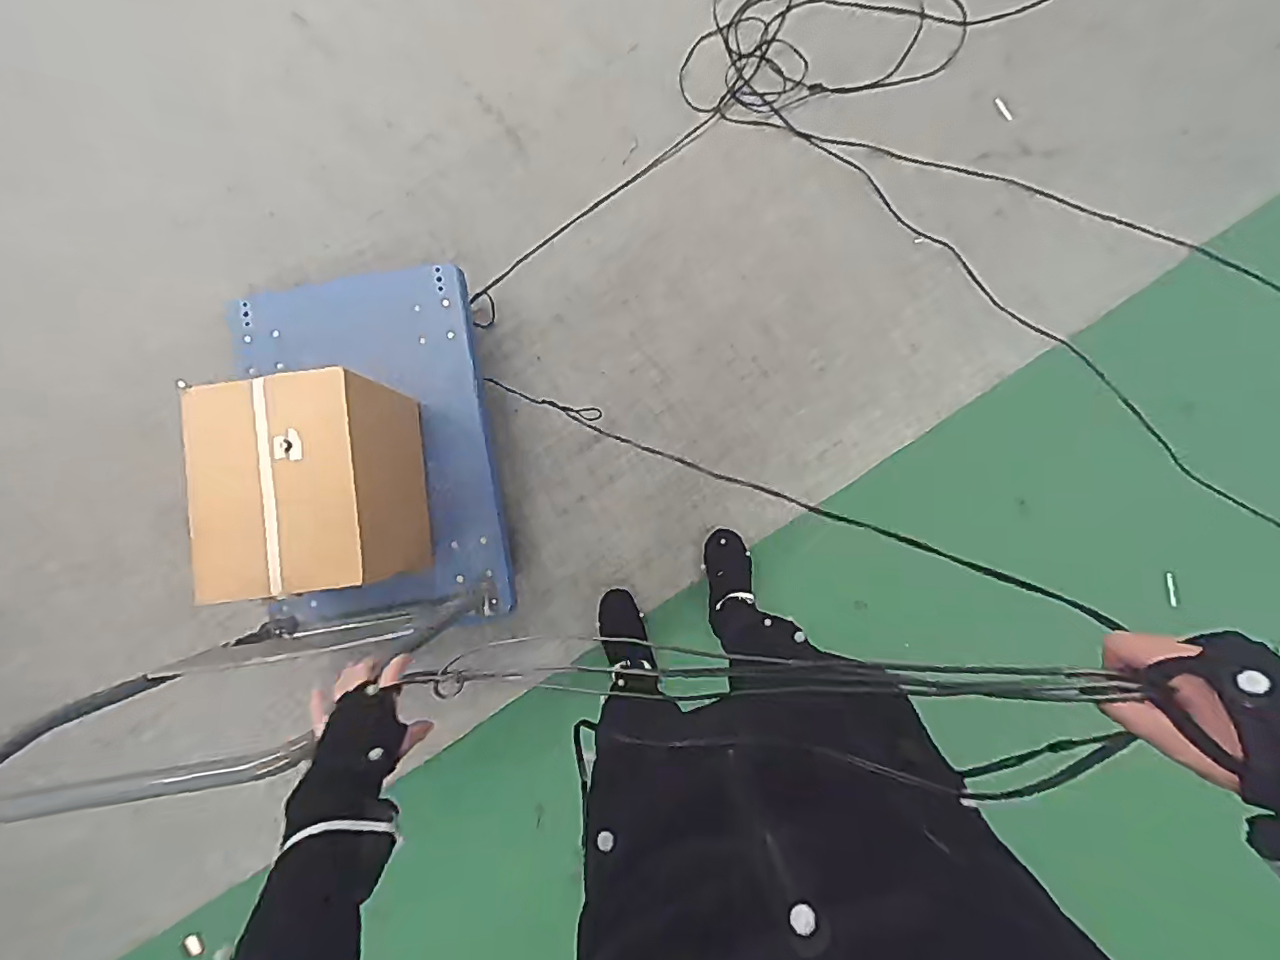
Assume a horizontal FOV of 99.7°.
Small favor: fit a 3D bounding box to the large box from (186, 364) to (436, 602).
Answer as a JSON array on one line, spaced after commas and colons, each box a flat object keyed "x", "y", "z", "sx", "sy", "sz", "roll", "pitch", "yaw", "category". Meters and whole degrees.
[{"x": -0.651, "y": 0.015, "z": 1.122, "sx": 0.320, "sy": 0.320, "sz": 0.408, "roll": -7, "pitch": 86, "yaw": 1, "category": "large box"}]
